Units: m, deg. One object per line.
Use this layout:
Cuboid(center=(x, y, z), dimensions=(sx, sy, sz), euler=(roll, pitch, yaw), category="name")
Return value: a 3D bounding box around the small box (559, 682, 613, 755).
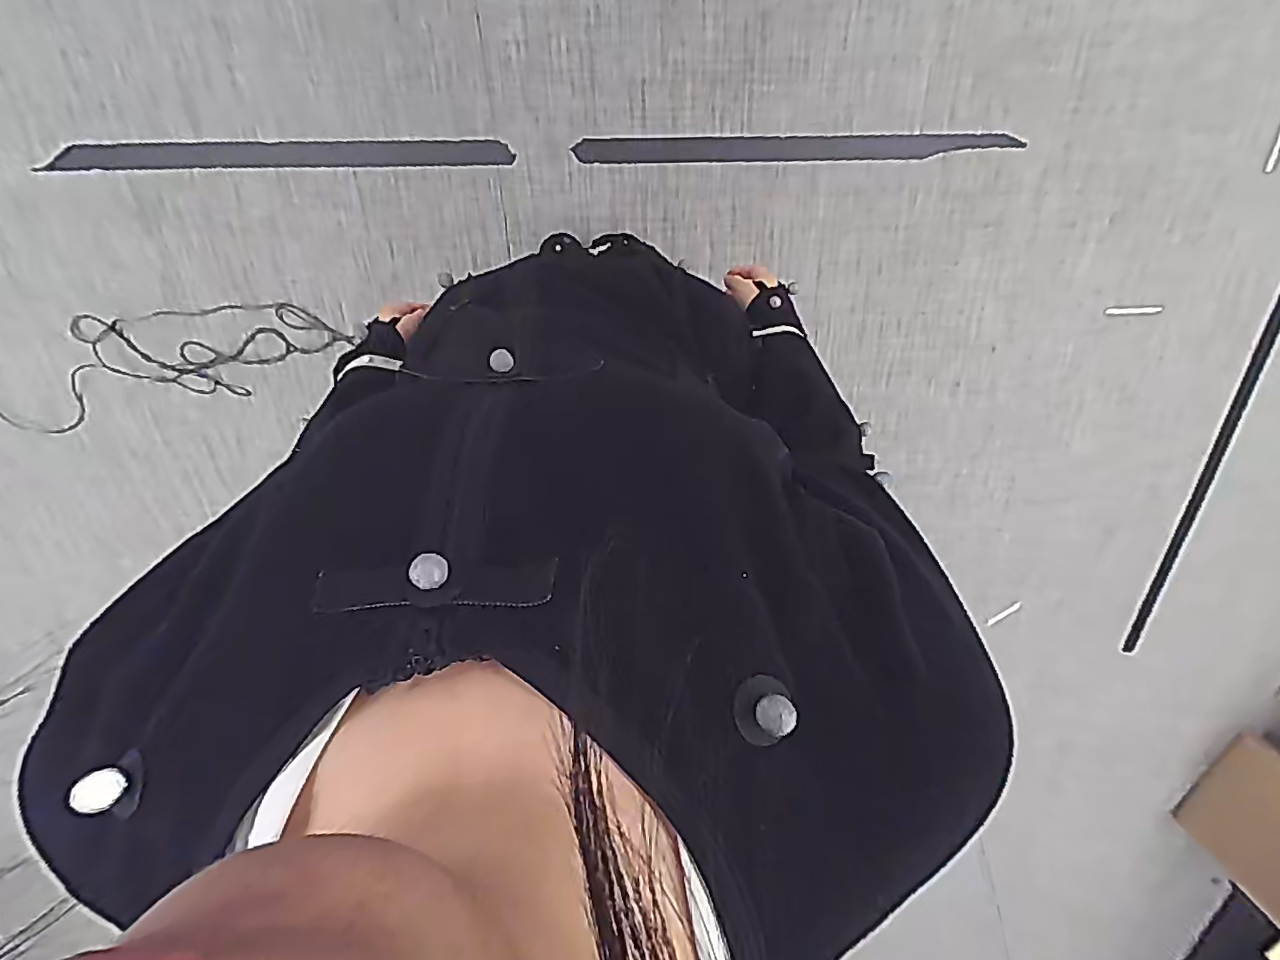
Cuboid(center=(-0.186, 0.816, 1.860), dimensions=(0.179, 0.176, 0.168), euler=(1, 114, -5), category="small box")
